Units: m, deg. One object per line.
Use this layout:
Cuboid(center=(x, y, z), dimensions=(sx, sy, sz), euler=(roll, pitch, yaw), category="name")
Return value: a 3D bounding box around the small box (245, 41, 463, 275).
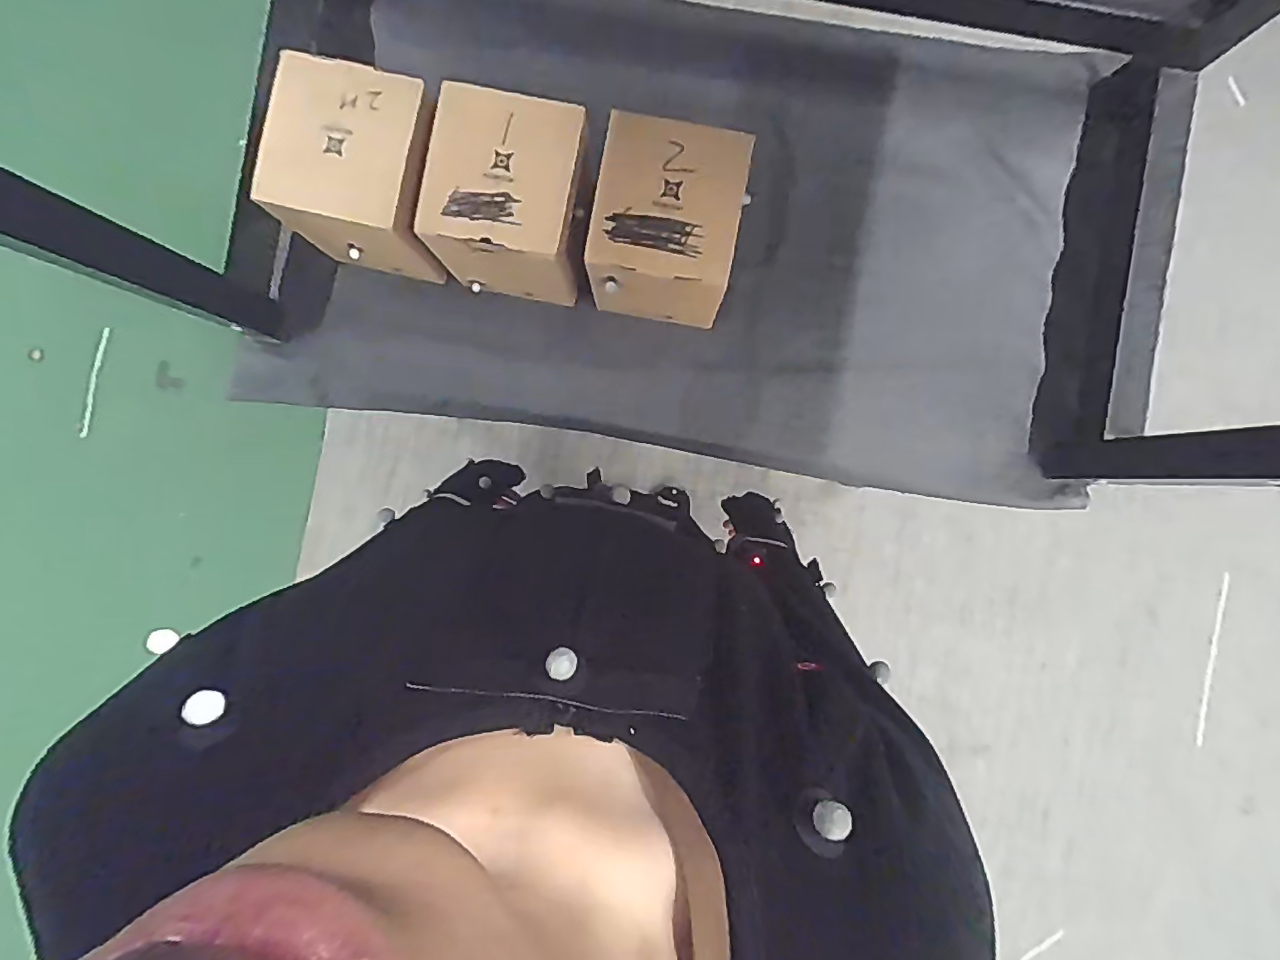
Cuboid(center=(-0.337, -0.379, 0.673), dimensions=(0.168, 0.176, 0.179), euler=(13, 90, -1), category="small box")
